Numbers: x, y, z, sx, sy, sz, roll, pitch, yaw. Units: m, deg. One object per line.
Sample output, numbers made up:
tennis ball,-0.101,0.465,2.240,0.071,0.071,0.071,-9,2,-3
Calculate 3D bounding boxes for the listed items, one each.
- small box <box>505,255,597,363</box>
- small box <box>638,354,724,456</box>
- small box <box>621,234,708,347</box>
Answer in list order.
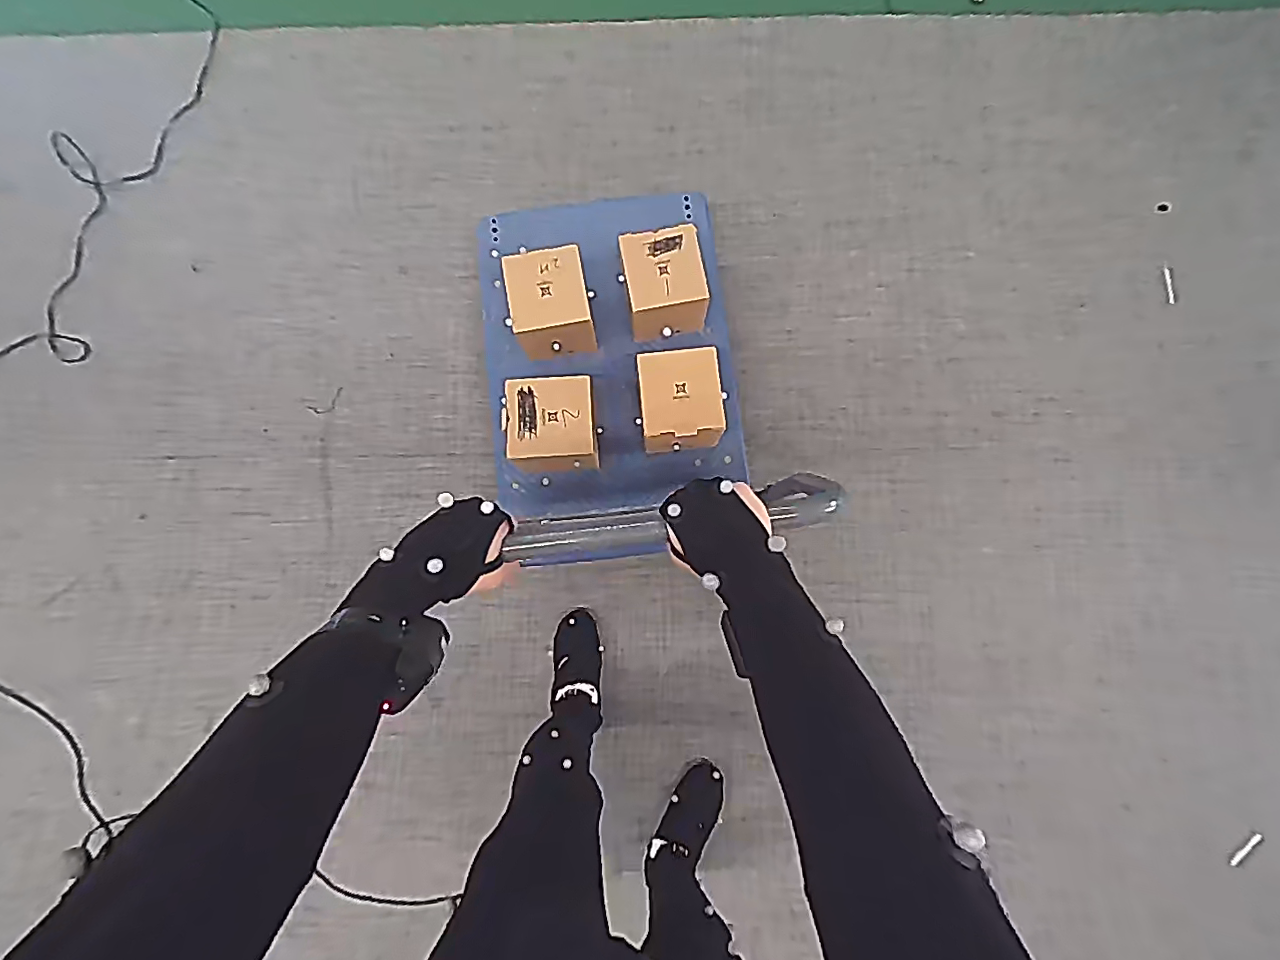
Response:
small box,-0.196,-0.379,1.233,0.168,0.176,0.179,-10,81,-2
small box,0.084,-0.161,1.198,0.168,0.176,0.179,-6,81,-1
small box,0.051,-0.427,1.238,0.168,0.176,0.179,-10,82,0
